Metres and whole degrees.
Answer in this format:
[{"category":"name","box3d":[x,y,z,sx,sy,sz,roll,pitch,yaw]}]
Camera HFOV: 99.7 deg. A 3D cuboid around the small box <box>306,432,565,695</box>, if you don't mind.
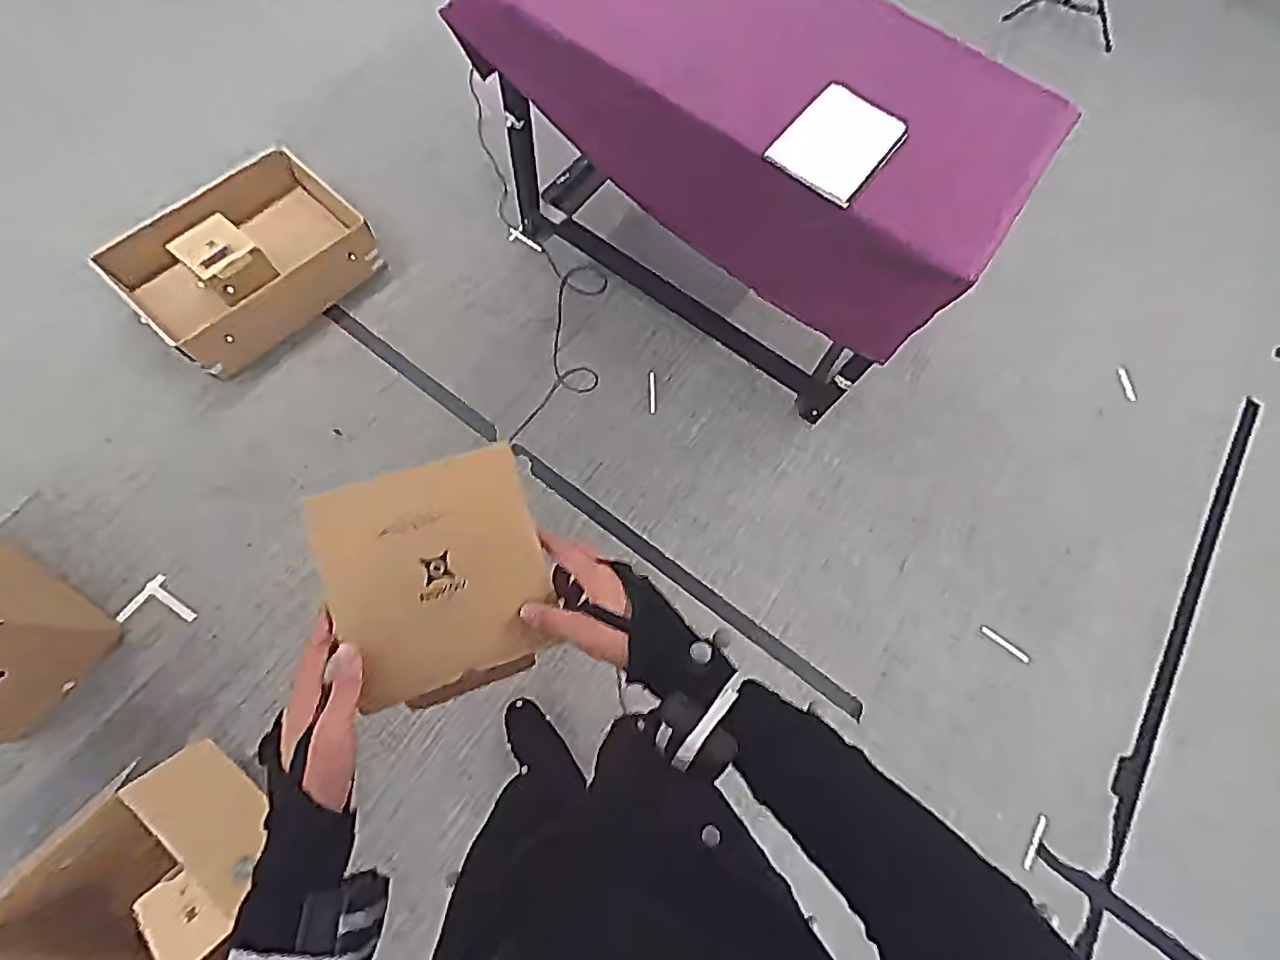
[{"category":"small box","box3d":[-0.175,0.069,0.508,0.168,0.176,0.179,-16,88,-13]}]
